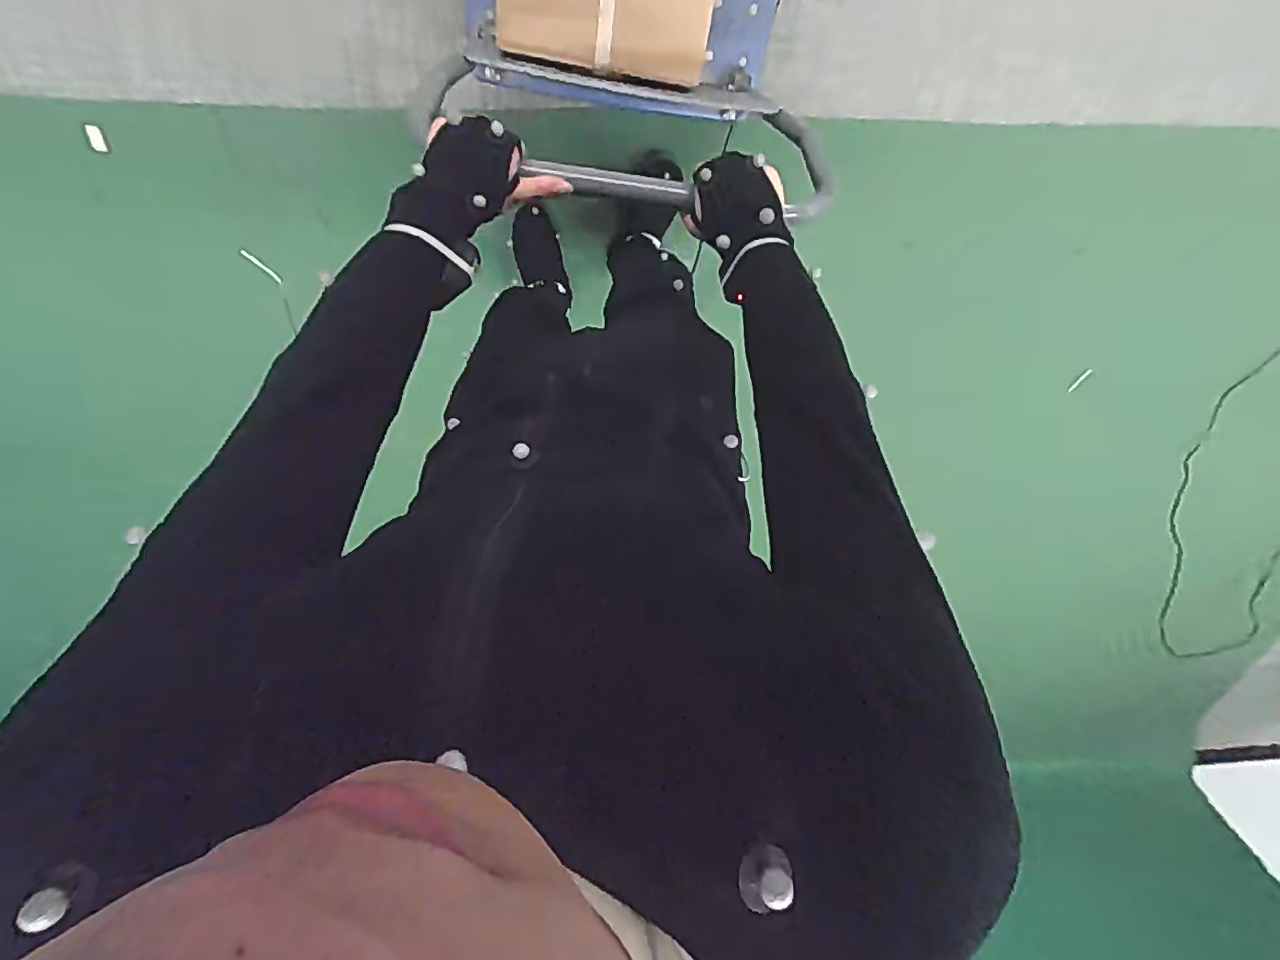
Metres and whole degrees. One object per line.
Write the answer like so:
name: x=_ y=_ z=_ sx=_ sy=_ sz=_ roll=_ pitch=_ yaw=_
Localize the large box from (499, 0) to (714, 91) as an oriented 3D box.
large box: x=-0.041 y=-0.872 z=0.837 sx=0.320 sy=0.320 sz=0.408 roll=4 pitch=127 yaw=-9
